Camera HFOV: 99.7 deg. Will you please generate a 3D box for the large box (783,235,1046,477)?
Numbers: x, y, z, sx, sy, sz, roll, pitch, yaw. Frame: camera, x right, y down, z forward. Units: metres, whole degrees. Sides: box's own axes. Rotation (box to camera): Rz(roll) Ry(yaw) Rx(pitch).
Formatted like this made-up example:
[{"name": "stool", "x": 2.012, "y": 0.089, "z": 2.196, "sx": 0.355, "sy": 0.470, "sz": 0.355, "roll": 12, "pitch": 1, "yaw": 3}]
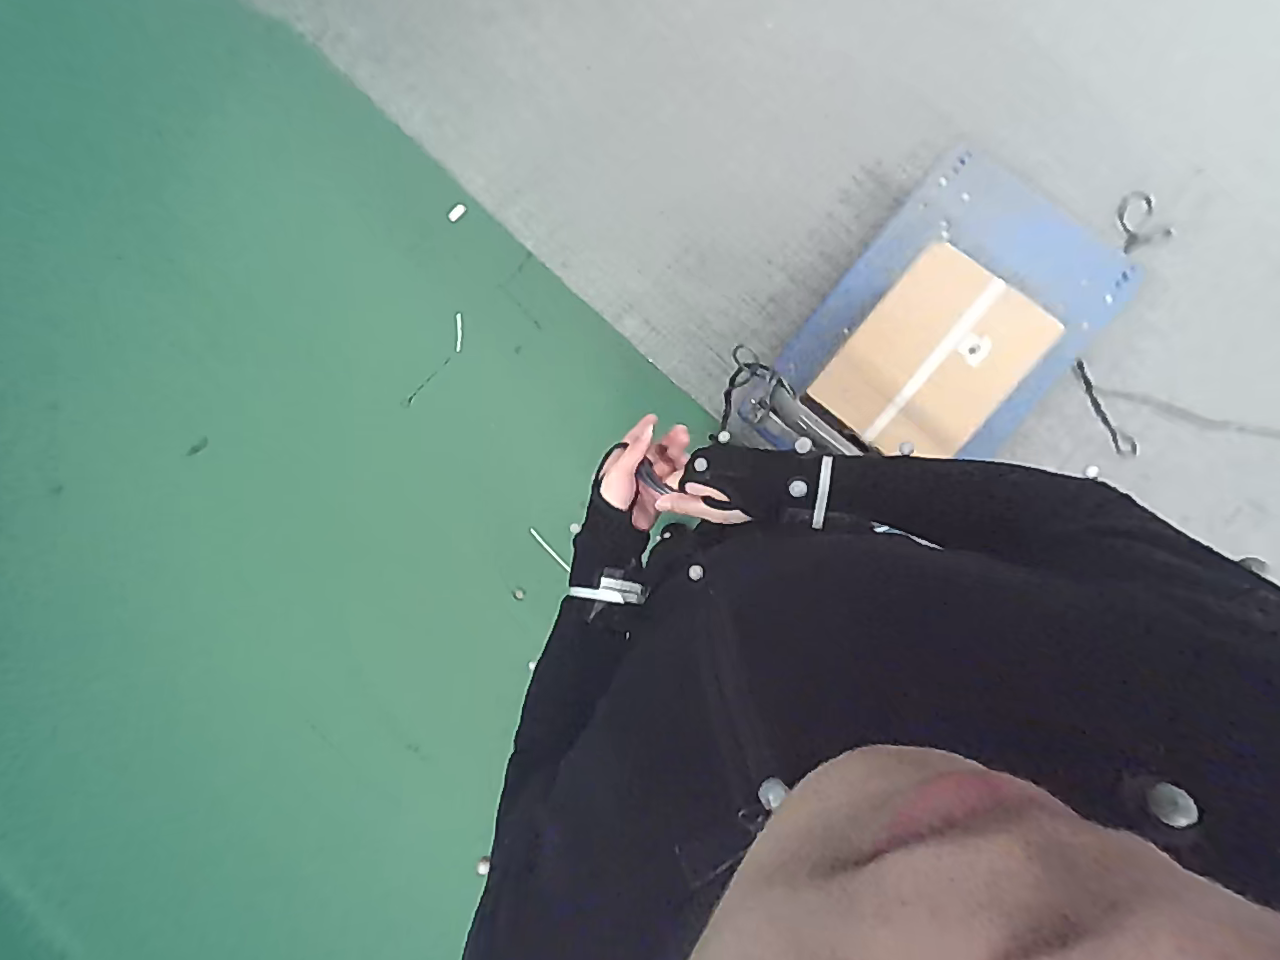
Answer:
[{"name": "large box", "x": 0.588, "y": -0.253, "z": 1.250, "sx": 0.320, "sy": 0.320, "sz": 0.408, "roll": 39, "pitch": 96, "yaw": 4}]
